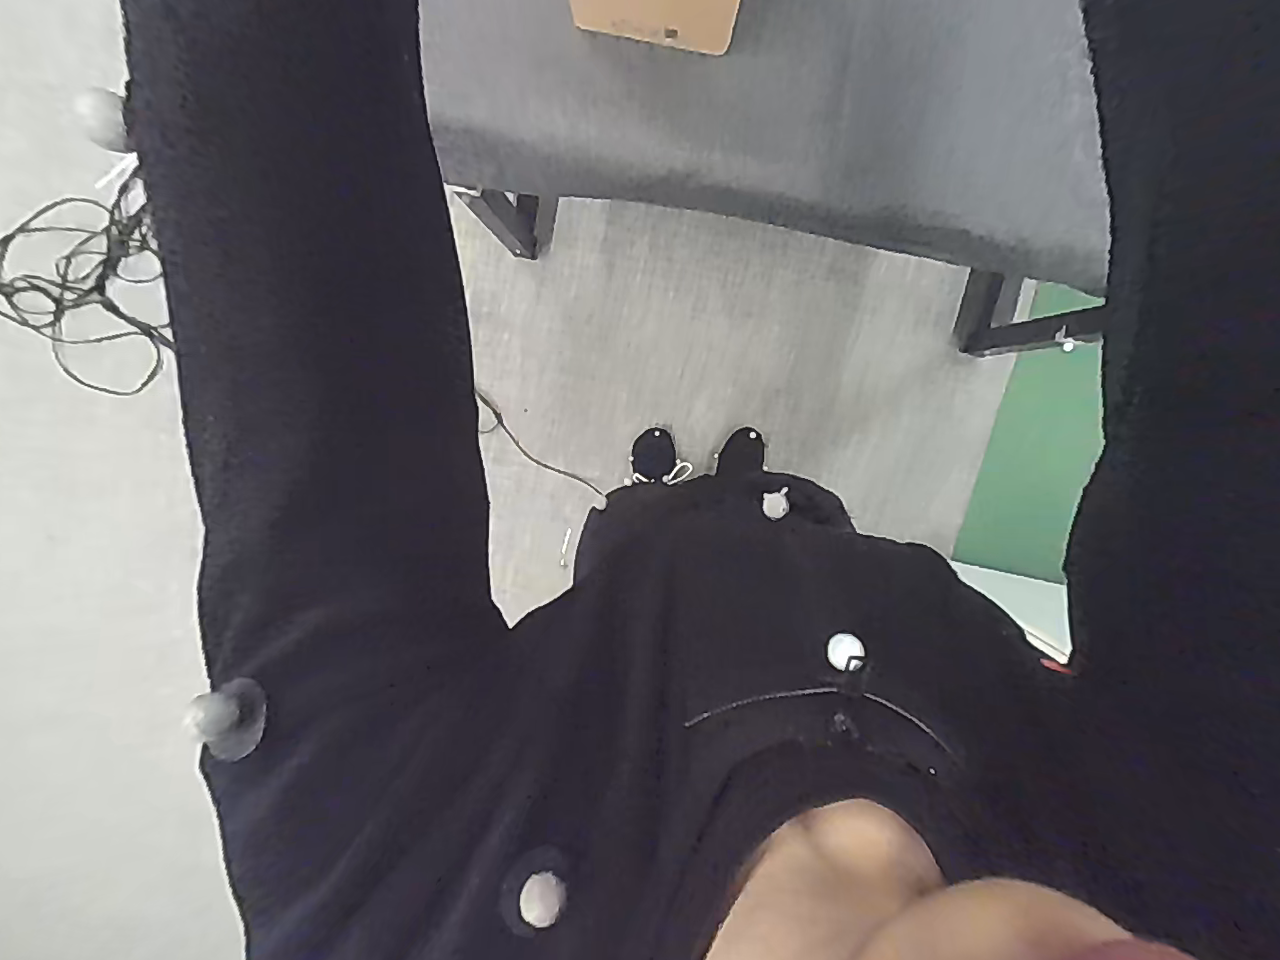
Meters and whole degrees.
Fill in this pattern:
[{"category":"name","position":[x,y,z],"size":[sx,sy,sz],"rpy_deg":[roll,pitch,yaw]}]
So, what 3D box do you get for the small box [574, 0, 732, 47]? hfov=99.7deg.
[{"category":"small box","position":[0.023,-0.542,0.476],"size":[0.168,0.176,0.179],"rpy_deg":[10,98,-2]}]
